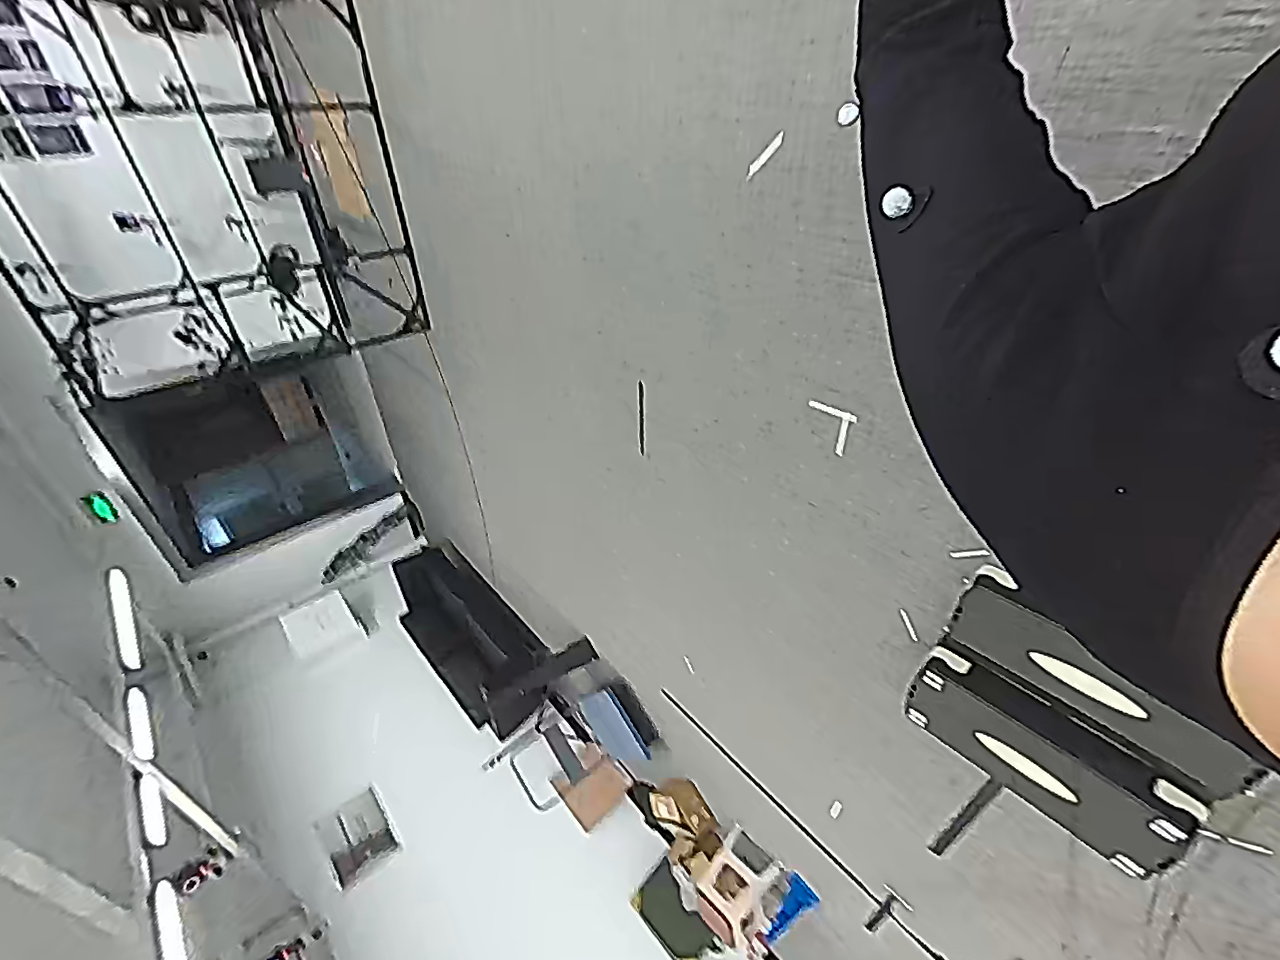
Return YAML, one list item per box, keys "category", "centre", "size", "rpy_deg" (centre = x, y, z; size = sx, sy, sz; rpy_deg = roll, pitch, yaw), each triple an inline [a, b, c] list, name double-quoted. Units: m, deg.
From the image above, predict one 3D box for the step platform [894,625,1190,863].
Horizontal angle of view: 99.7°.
- category: "step platform"
  centre: [1.122, 0.748, 1.595]
  size: [0.684, 0.204, 0.286]
  rpy_deg: [33, 137, 39]
